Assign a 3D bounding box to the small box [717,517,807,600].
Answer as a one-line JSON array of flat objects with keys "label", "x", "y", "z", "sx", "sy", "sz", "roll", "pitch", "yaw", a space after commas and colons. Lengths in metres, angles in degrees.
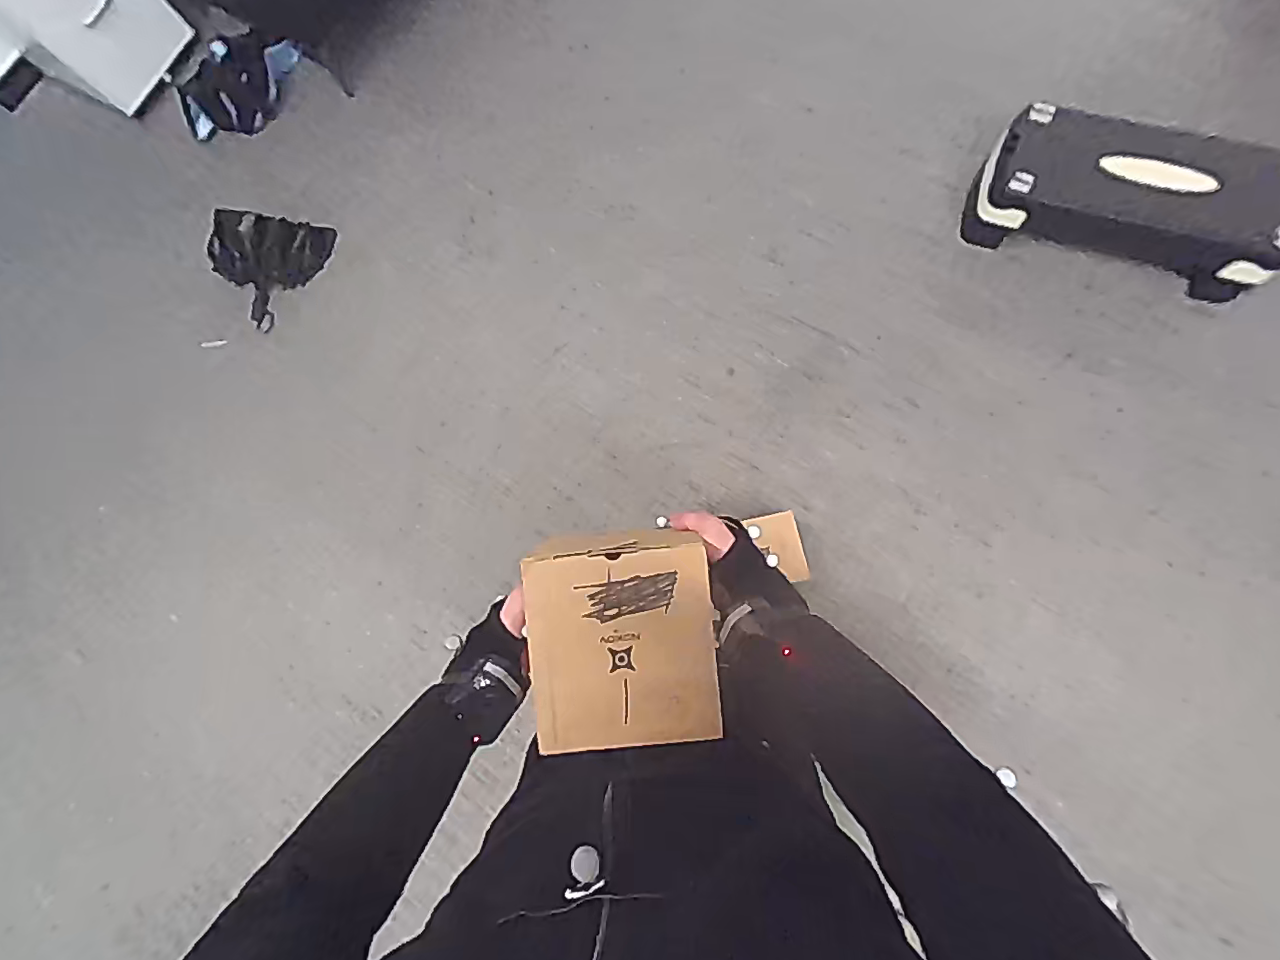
[{"label": "small box", "x": 0.294, "y": 0.201, "z": 1.337, "sx": 0.179, "sy": 0.176, "sz": 0.168, "roll": -14, "pitch": 77, "yaw": 4}]
